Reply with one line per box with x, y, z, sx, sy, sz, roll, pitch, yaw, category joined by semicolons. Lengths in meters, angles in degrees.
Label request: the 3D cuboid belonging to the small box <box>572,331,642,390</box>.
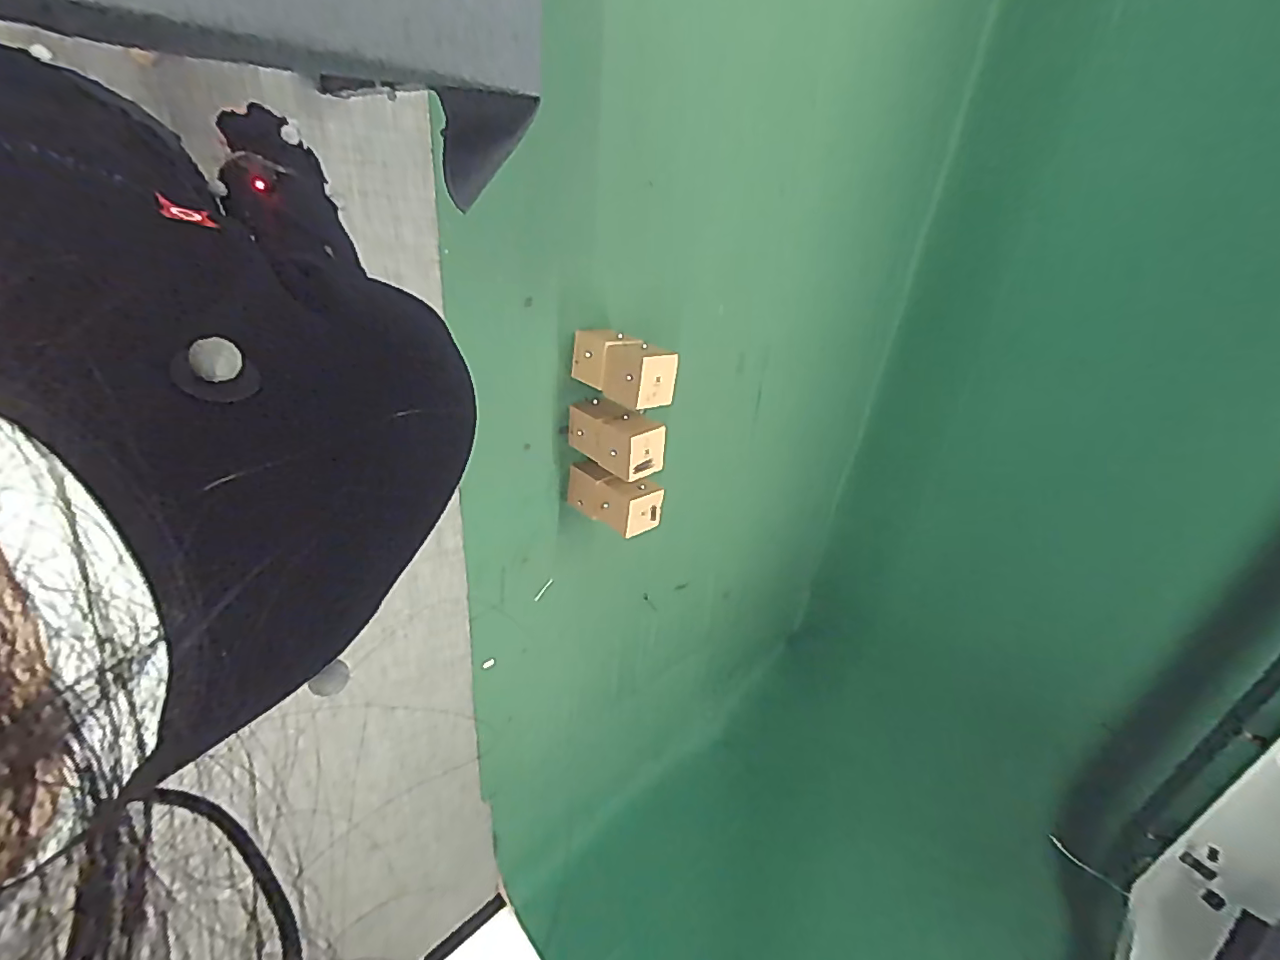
-0.119;-0.422;1.892;0.179;0.176;0.168;-15;124;-43;small box

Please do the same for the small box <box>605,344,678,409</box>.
0.000;-0.351;1.801;0.168;0.176;0.179;-16;124;-42;small box

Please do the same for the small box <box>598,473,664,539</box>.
-0.037;0.091;2.050;0.179;0.176;0.168;-19;127;-41;small box

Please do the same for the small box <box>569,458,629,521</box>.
-0.167;0.033;2.135;0.168;0.176;0.179;-17;125;-42;small box
